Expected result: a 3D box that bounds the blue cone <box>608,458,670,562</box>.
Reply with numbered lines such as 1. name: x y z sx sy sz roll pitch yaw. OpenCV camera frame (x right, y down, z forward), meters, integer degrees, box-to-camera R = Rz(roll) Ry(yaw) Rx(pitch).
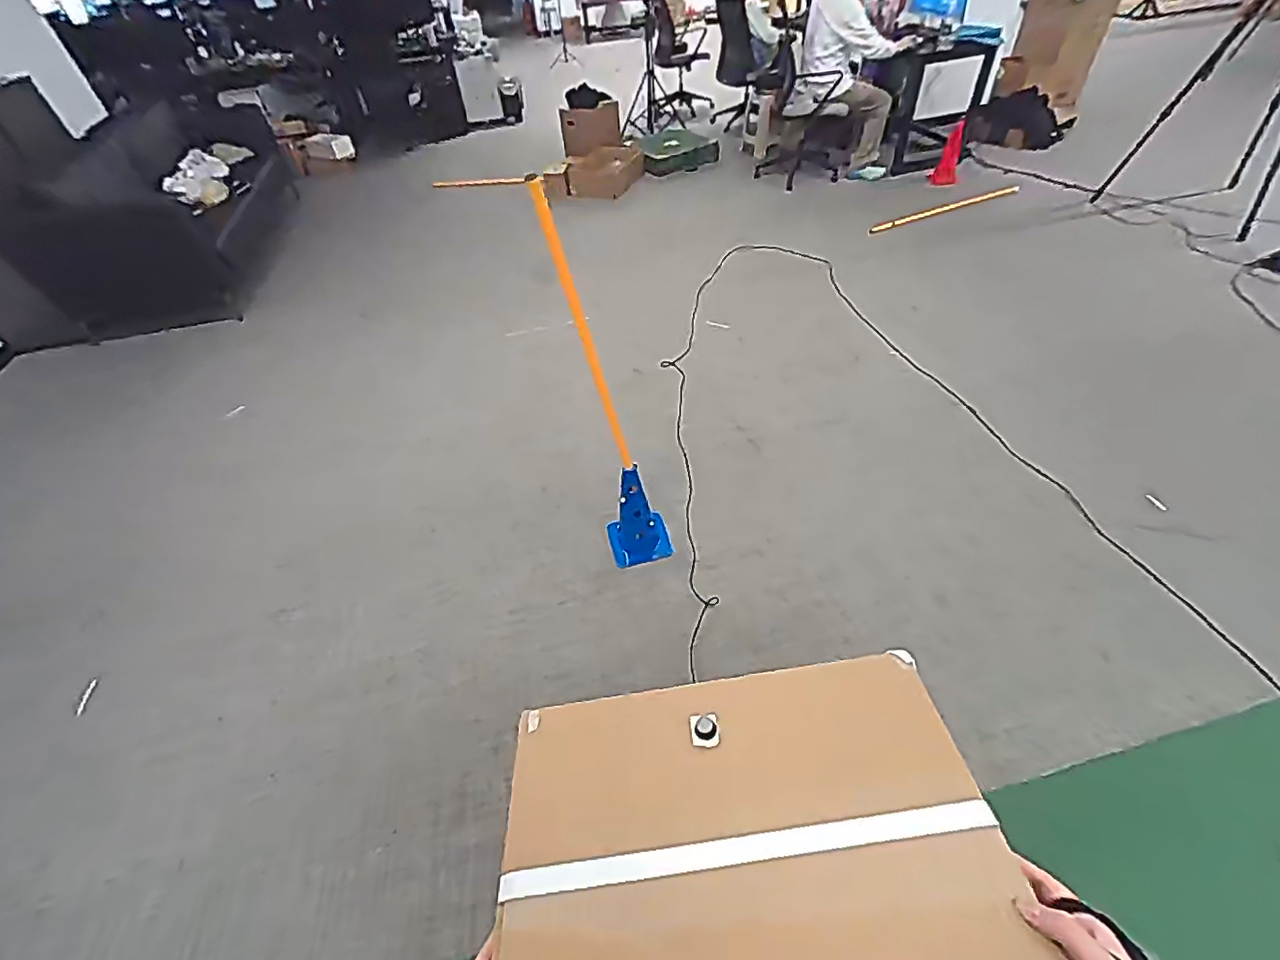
1. blue cone: -0.020 0.081 1.743 0.193 0.380 0.192 -16 46 -7
